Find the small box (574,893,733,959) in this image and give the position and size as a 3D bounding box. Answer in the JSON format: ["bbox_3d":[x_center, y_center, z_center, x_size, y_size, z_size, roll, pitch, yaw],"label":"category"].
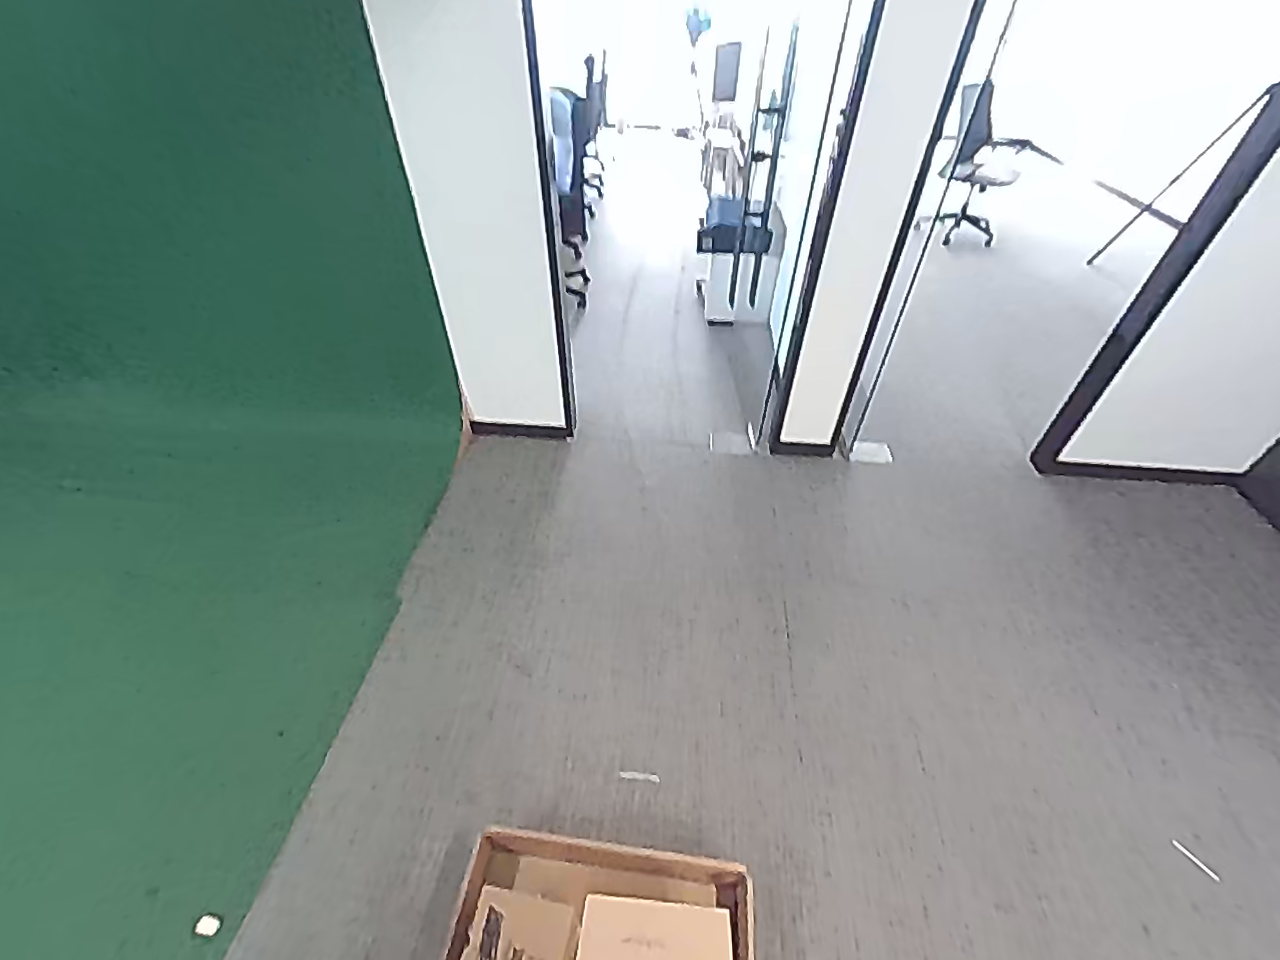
[{"bbox_3d":[0.009,0.575,0.549,0.168,0.176,0.179,4,17,4],"label":"small box"}]

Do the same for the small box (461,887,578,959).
[{"bbox_3d":[-0.218,0.873,0.977,0.179,0.176,0.168,9,43,6],"label":"small box"}]
